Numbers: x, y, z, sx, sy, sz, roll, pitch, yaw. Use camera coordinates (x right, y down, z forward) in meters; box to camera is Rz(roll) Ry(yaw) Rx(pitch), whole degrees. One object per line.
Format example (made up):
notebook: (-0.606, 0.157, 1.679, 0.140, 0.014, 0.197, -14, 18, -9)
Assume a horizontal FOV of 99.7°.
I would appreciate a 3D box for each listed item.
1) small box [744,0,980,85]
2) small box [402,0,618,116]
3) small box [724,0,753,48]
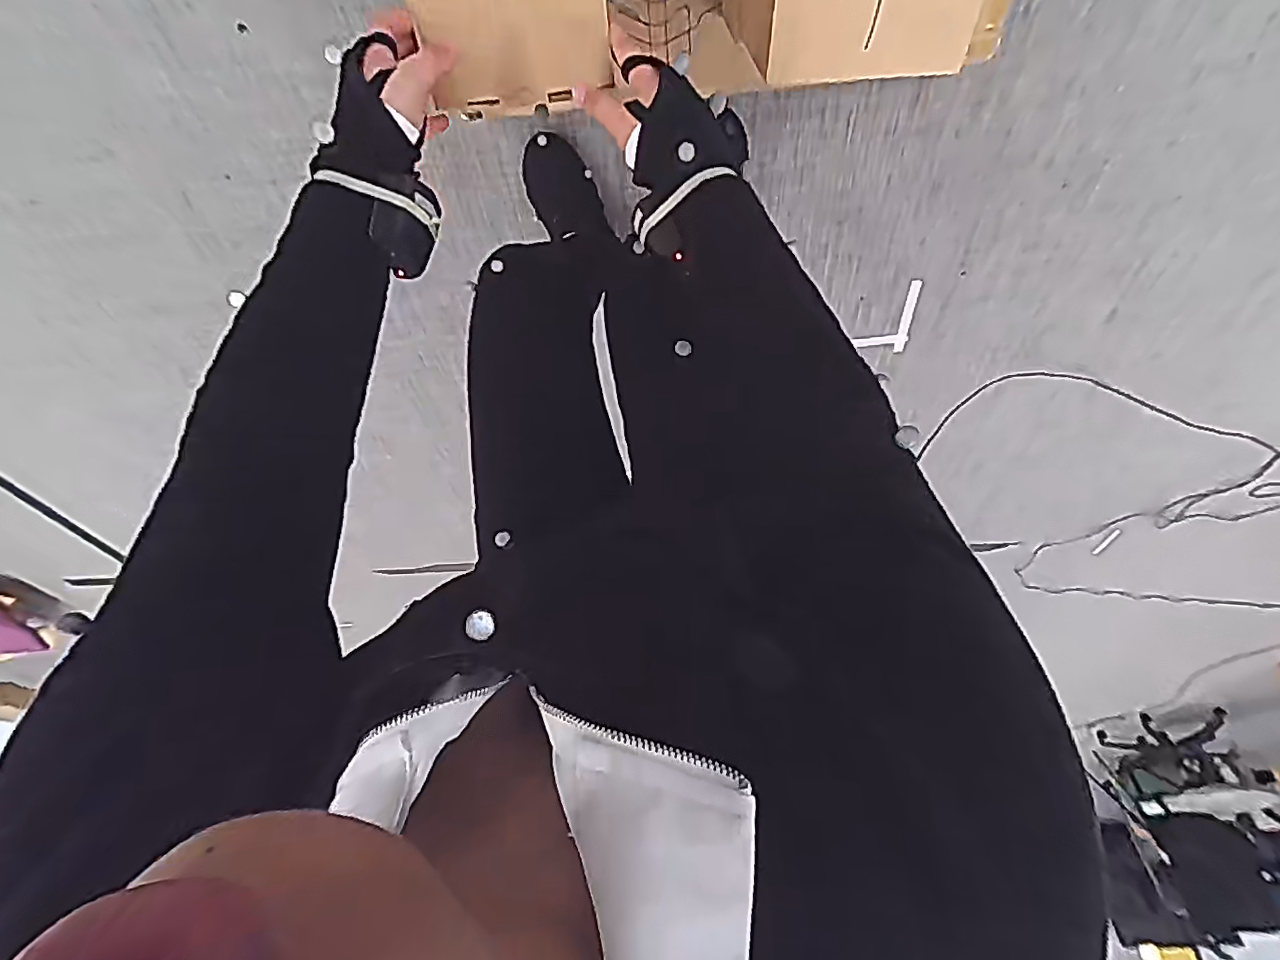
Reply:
small box: (0.185, -0.461, 0.453, 0.168, 0.176, 0.179, -1, 140, 2)
small box: (-0.111, -0.447, 0.493, 0.168, 0.176, 0.179, -3, 125, 3)
small box: (0.176, -0.584, 0.562, 0.168, 0.176, 0.179, -3, 139, 5)
